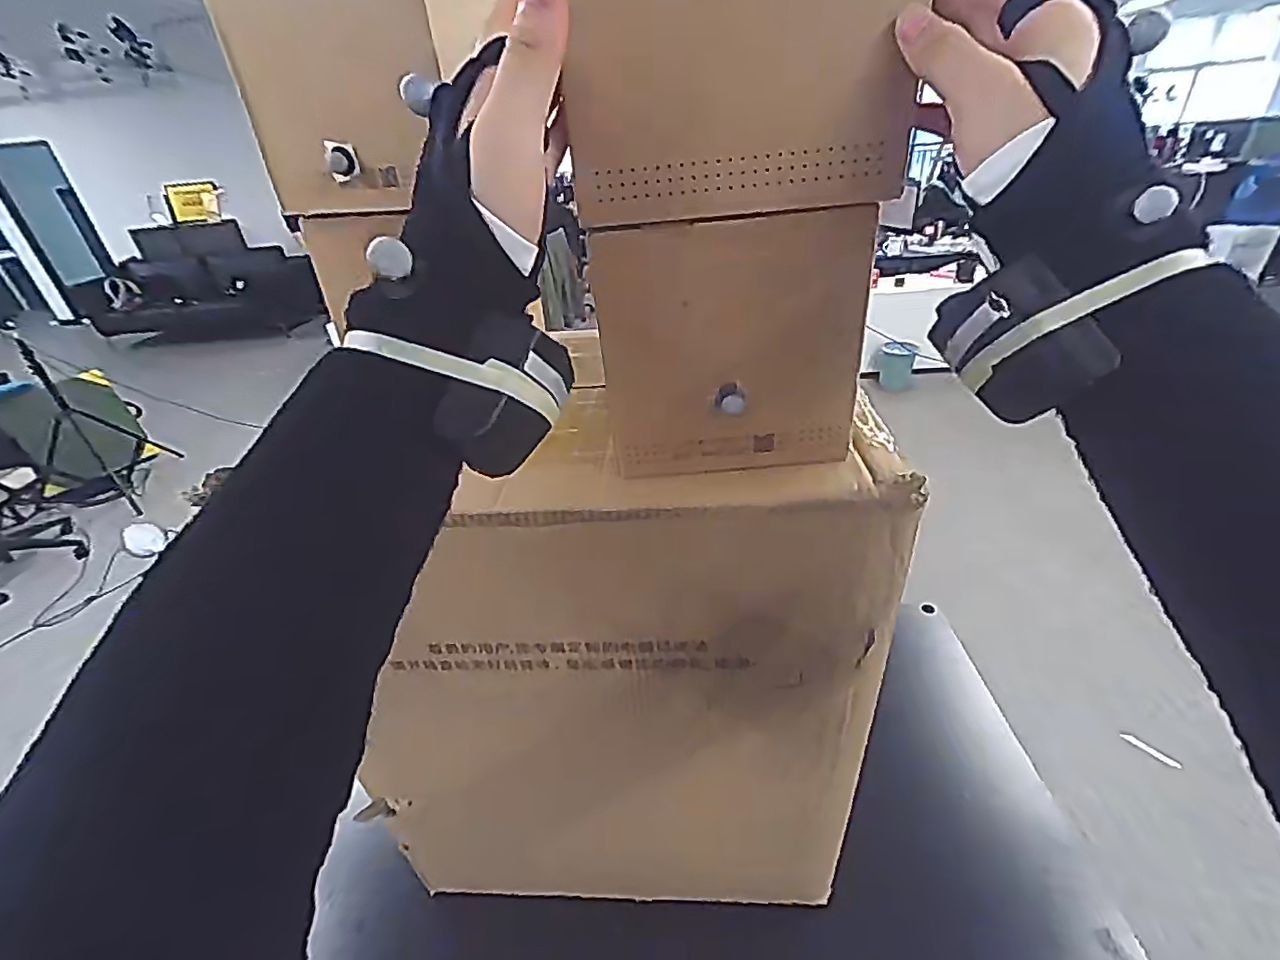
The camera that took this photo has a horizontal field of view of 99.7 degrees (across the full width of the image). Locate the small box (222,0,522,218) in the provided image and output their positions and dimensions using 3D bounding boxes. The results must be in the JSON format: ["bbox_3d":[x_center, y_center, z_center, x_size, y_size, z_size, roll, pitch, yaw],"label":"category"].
[{"bbox_3d":[-0.211,-0.333,0.476,0.168,0.176,0.179,-1,32,6],"label":"small box"}]

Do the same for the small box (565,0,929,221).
[{"bbox_3d":[0.053,-0.254,0.314,0.179,0.176,0.168,-3,33,5],"label":"small box"}]

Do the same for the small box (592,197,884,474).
[{"bbox_3d":[0.061,-0.122,0.412,0.168,0.176,0.179,-5,33,3],"label":"small box"}]

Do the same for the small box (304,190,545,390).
[{"bbox_3d":[-0.204,-0.202,0.577,0.168,0.176,0.179,-1,33,4],"label":"small box"}]
